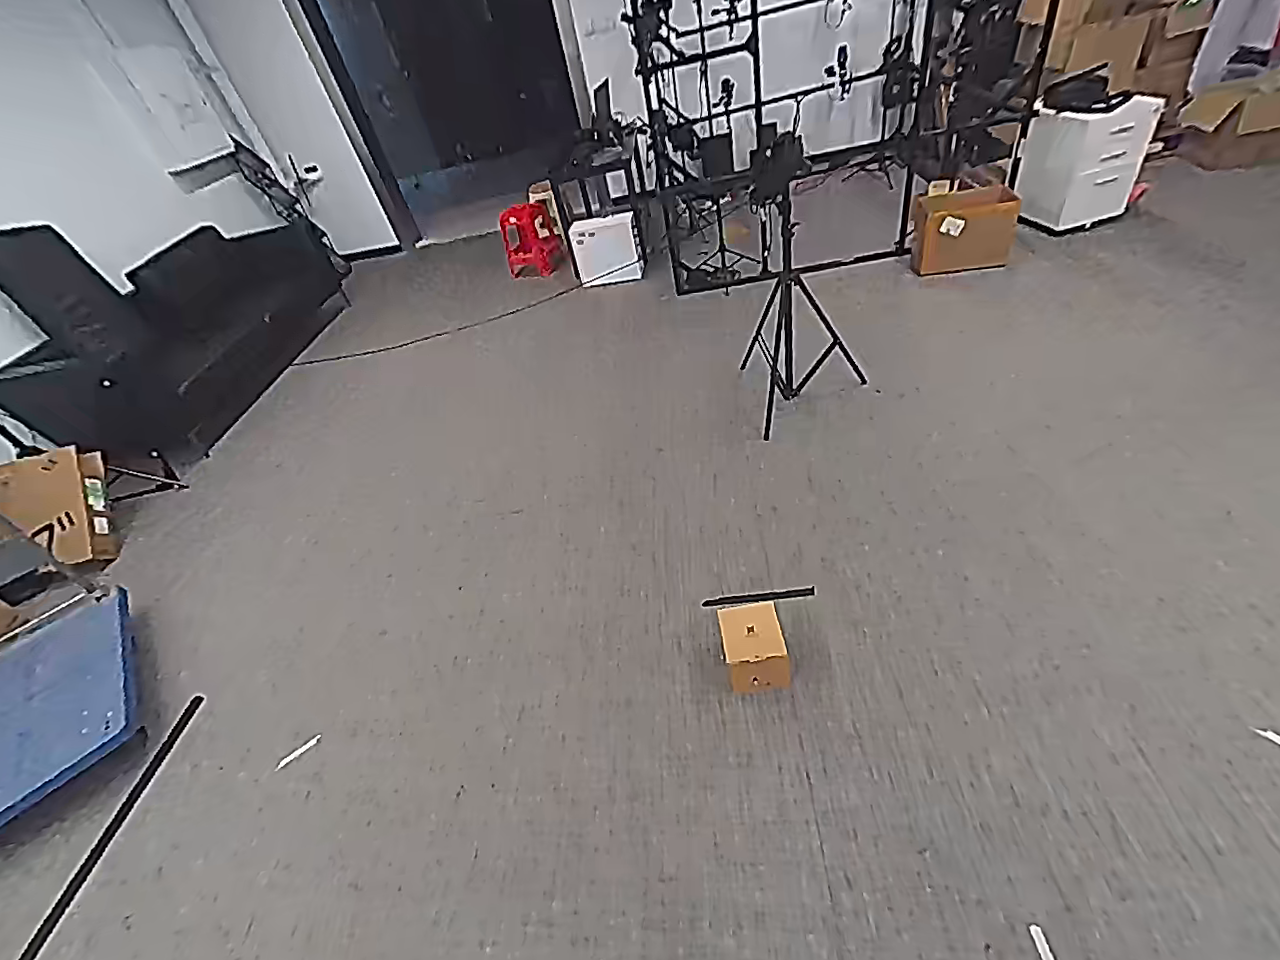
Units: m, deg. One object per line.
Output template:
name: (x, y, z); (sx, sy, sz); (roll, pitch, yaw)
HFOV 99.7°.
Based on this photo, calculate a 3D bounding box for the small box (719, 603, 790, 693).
small box: (0.328, 0.485, 1.556); (0.168, 0.176, 0.179); (-11, 41, 5)
